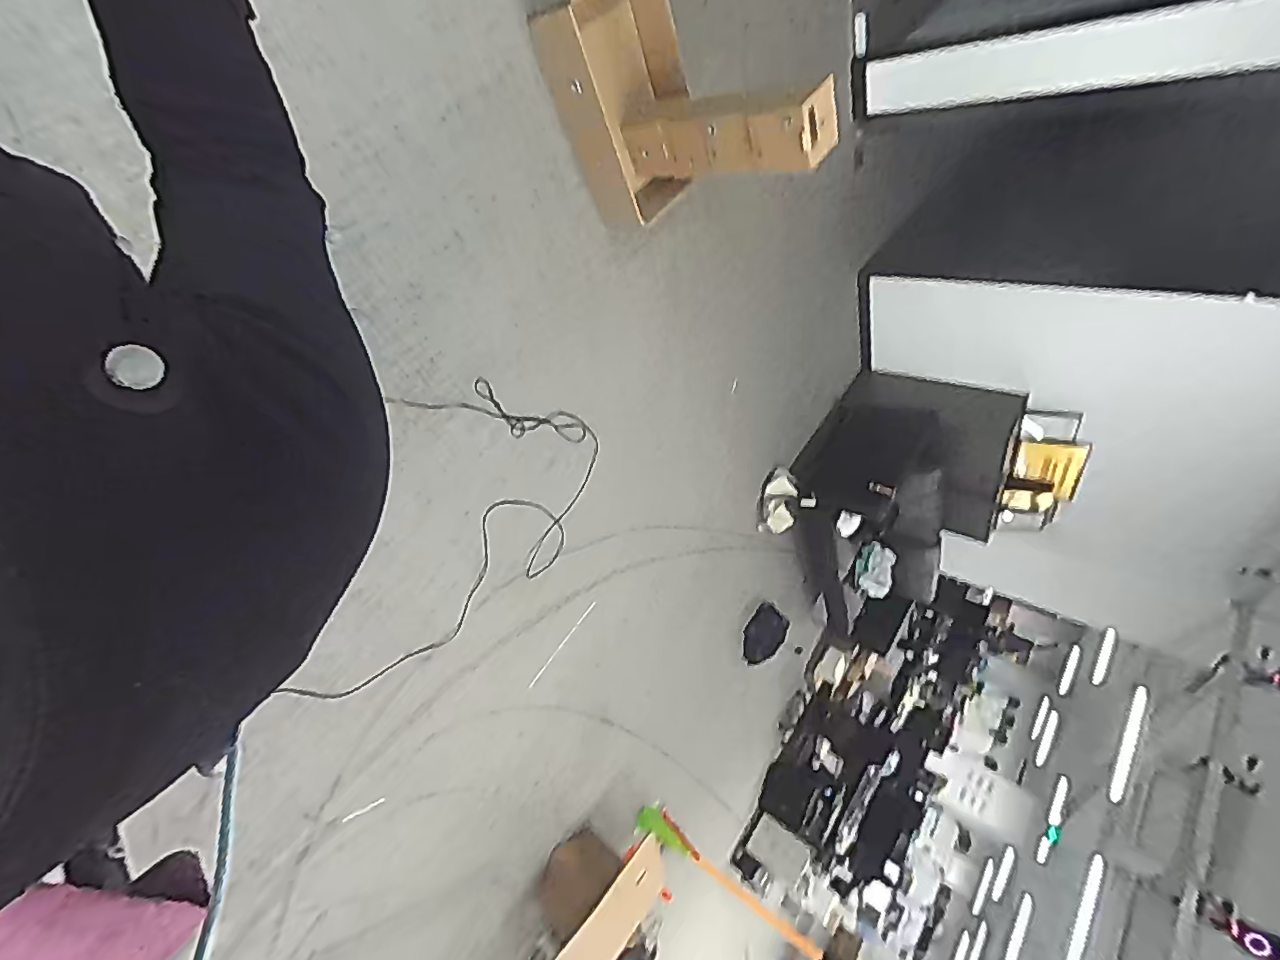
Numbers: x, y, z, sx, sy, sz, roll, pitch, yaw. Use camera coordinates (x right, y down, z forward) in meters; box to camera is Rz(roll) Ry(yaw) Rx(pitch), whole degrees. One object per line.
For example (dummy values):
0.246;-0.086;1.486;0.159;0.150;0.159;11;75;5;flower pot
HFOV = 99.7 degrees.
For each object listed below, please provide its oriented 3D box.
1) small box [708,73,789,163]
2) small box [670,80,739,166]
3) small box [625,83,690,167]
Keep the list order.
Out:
0.316;-1.061;1.598;0.179;0.176;0.168;-50;140;-22;small box
0.212;-1.109;1.692;0.179;0.176;0.168;-51;139;-21;small box
0.072;-1.170;1.792;0.179;0.176;0.168;-54;139;-18;small box
